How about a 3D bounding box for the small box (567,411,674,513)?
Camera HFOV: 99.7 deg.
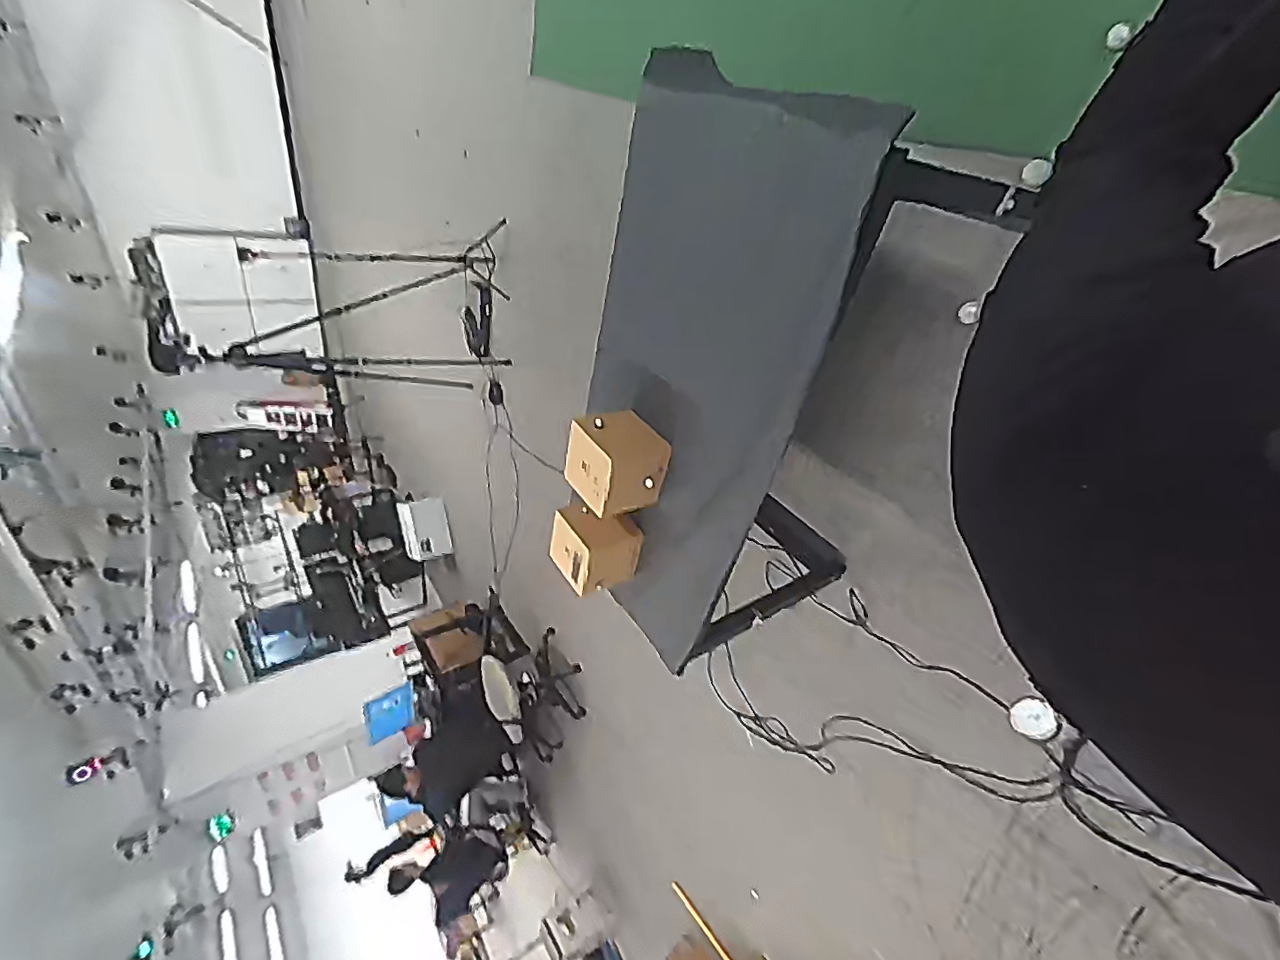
[{"bbox_3d":[-0.048,-0.050,1.274,0.179,0.176,0.168,45,136,35],"label":"small box"}]
